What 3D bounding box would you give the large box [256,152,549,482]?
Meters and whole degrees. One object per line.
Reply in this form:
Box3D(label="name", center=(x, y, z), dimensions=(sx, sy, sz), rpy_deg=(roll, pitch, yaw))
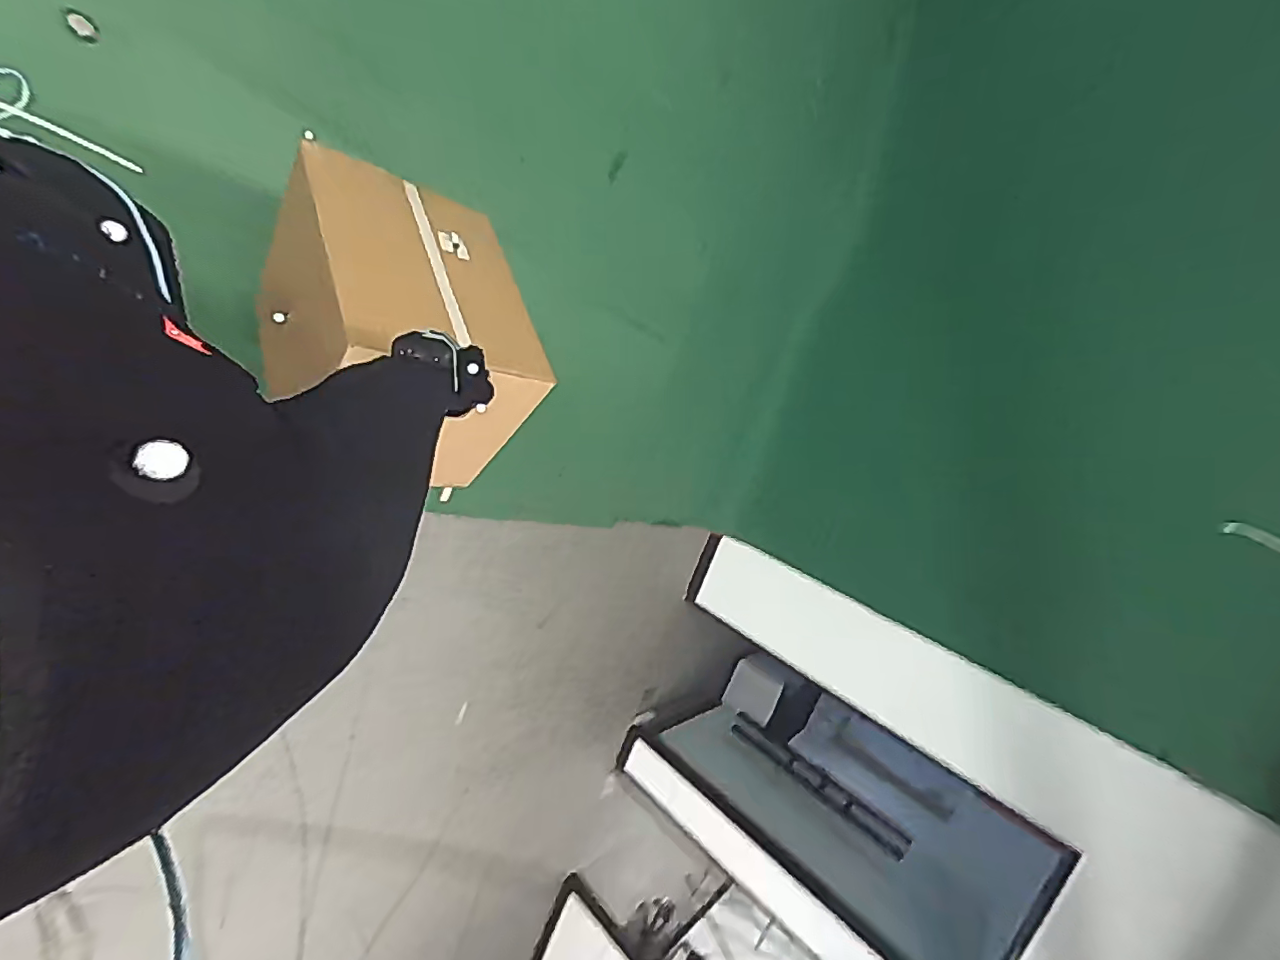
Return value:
Box3D(label="large box", center=(-0.420, -0.241, 0.925), dimensions=(0.320, 0.408, 0.320), rpy_deg=(2, 144, -49))
